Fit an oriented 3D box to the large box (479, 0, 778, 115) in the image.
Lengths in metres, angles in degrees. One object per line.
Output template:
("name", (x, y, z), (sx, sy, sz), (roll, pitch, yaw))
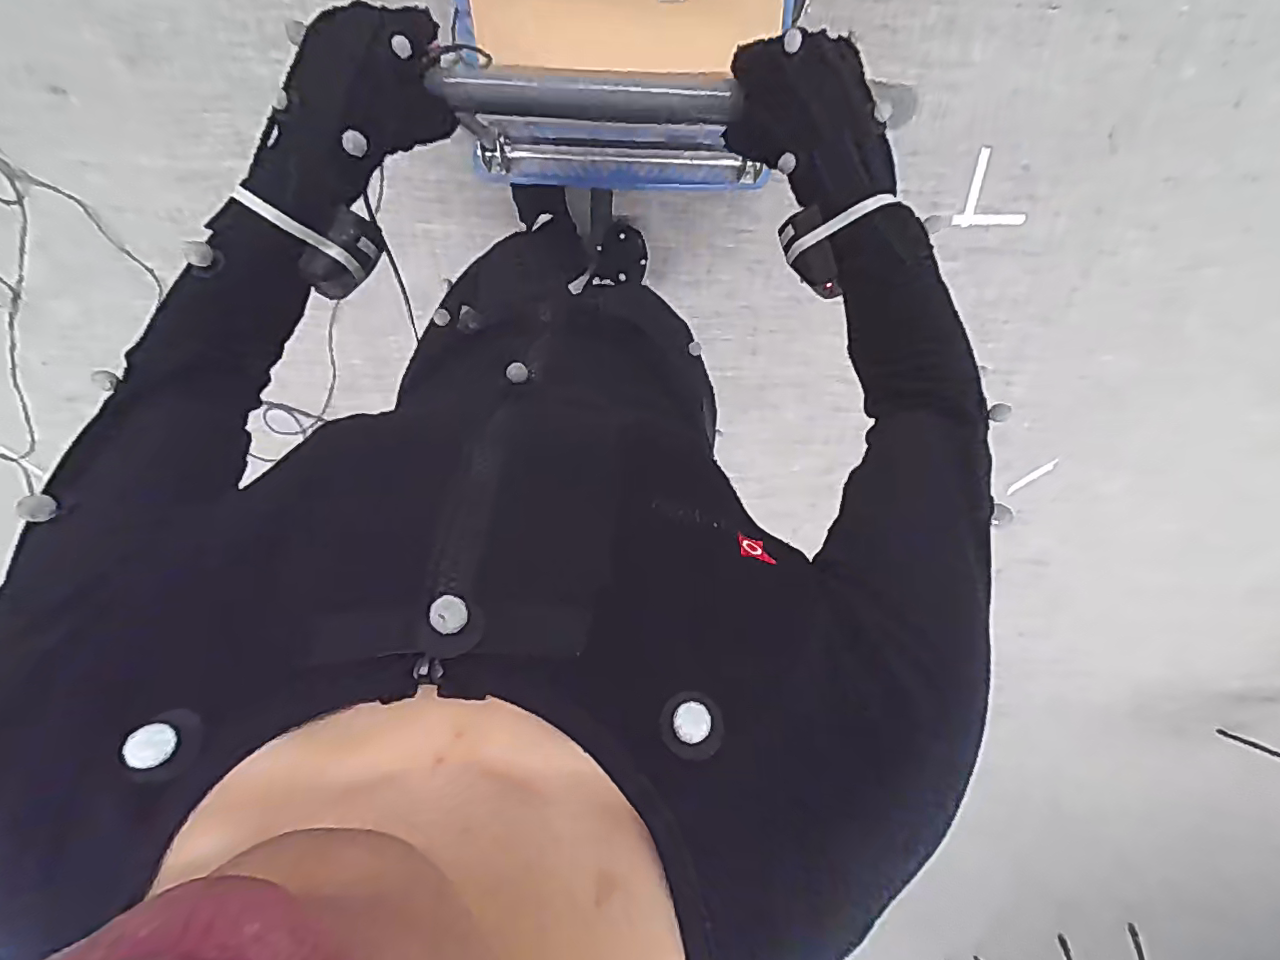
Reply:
("large box", (-0.026, -0.760, 0.810), (0.408, 0.320, 0.320), (-4, 119, -1))
